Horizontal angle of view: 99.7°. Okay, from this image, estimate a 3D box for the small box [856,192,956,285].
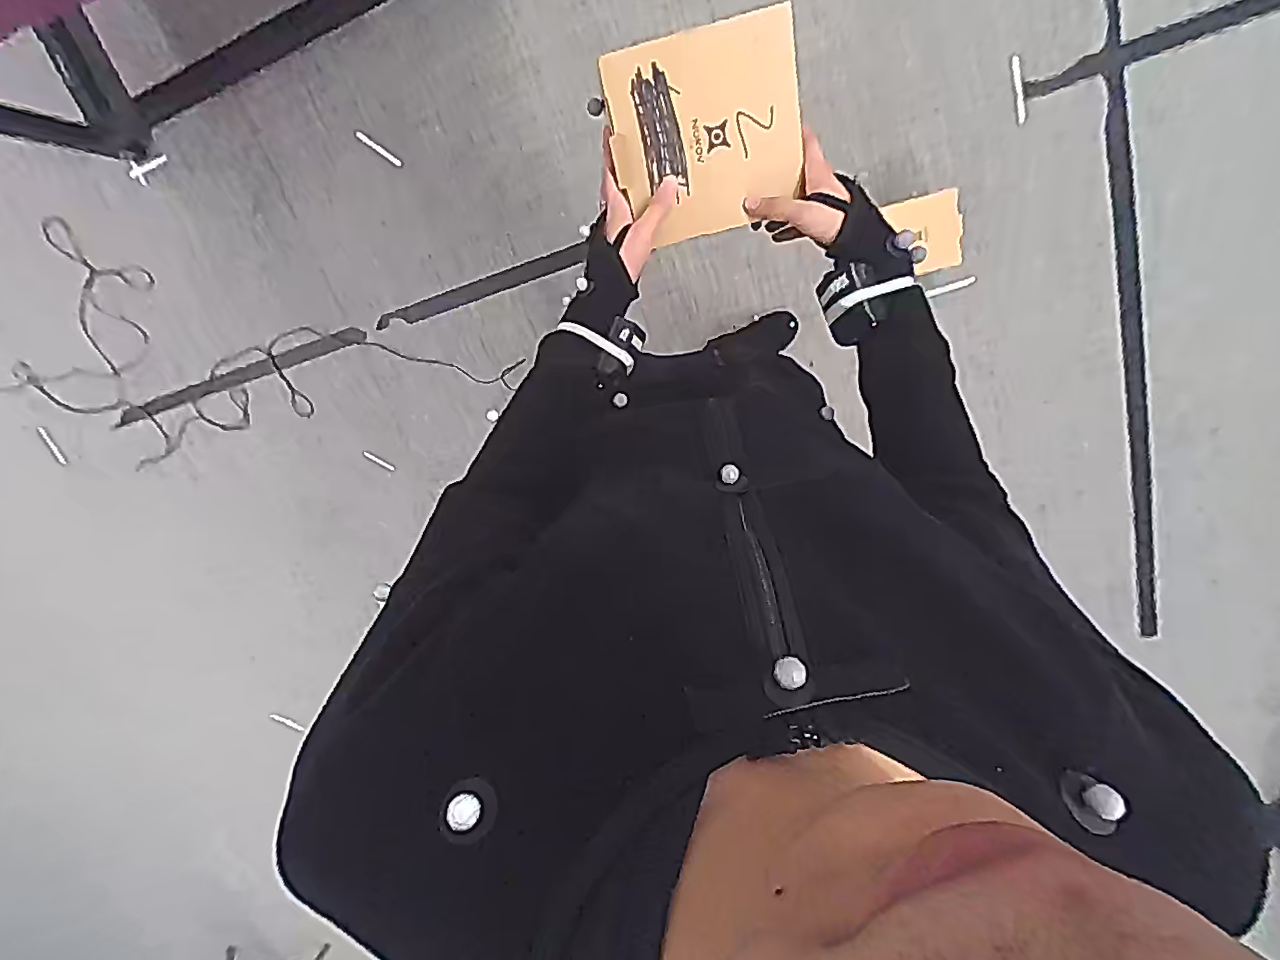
[{"bbox_3d":[0.640,-0.580,1.321,0.179,0.176,0.168,-12,108,10],"label":"small box"}]
